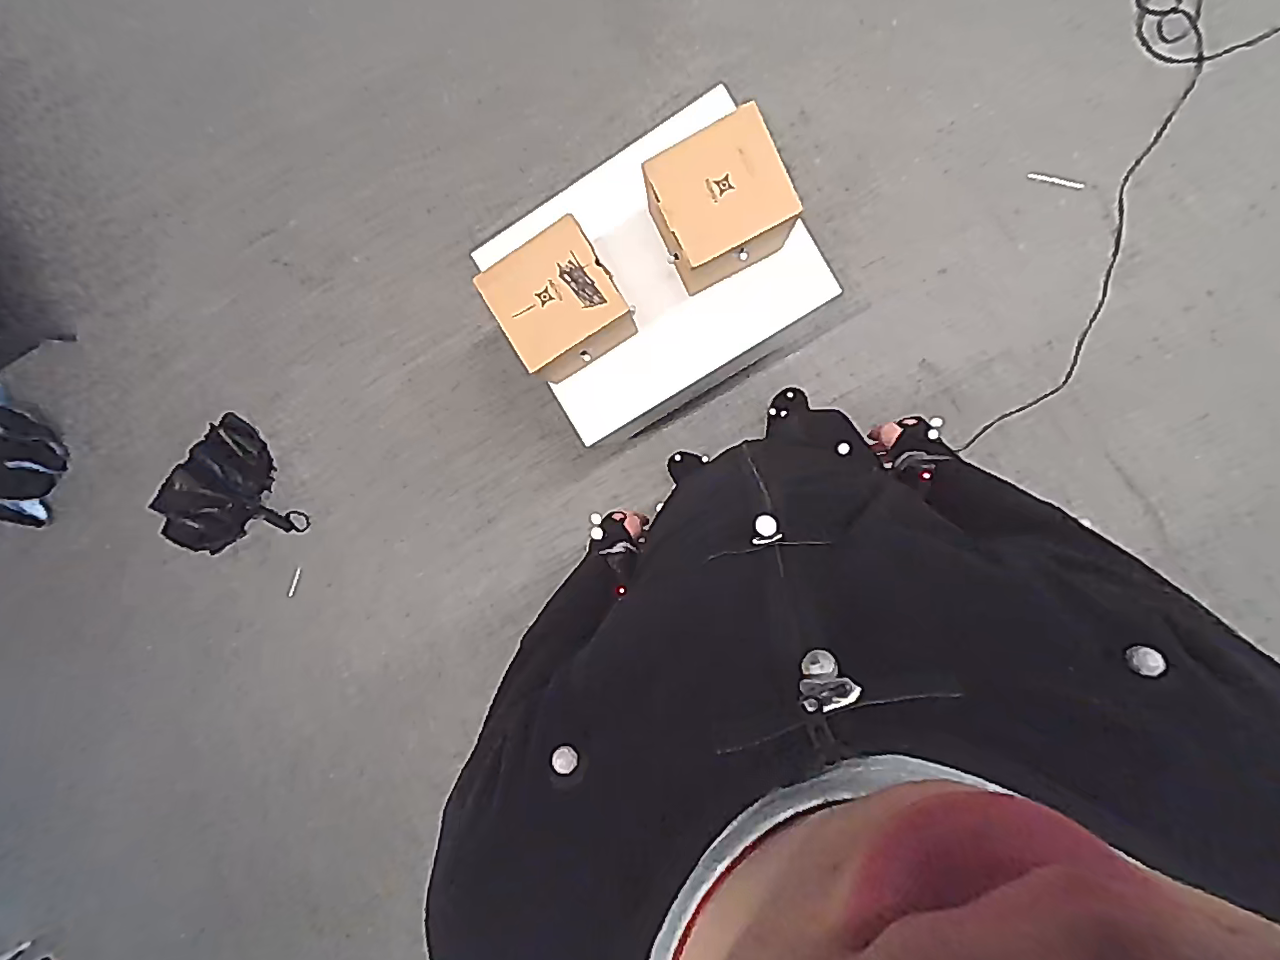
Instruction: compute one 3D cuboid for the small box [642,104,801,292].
[{"bbox_3d":[0.121,-0.414,0.832,0.179,0.176,0.168,-26,94,7],"label":"small box"}]
